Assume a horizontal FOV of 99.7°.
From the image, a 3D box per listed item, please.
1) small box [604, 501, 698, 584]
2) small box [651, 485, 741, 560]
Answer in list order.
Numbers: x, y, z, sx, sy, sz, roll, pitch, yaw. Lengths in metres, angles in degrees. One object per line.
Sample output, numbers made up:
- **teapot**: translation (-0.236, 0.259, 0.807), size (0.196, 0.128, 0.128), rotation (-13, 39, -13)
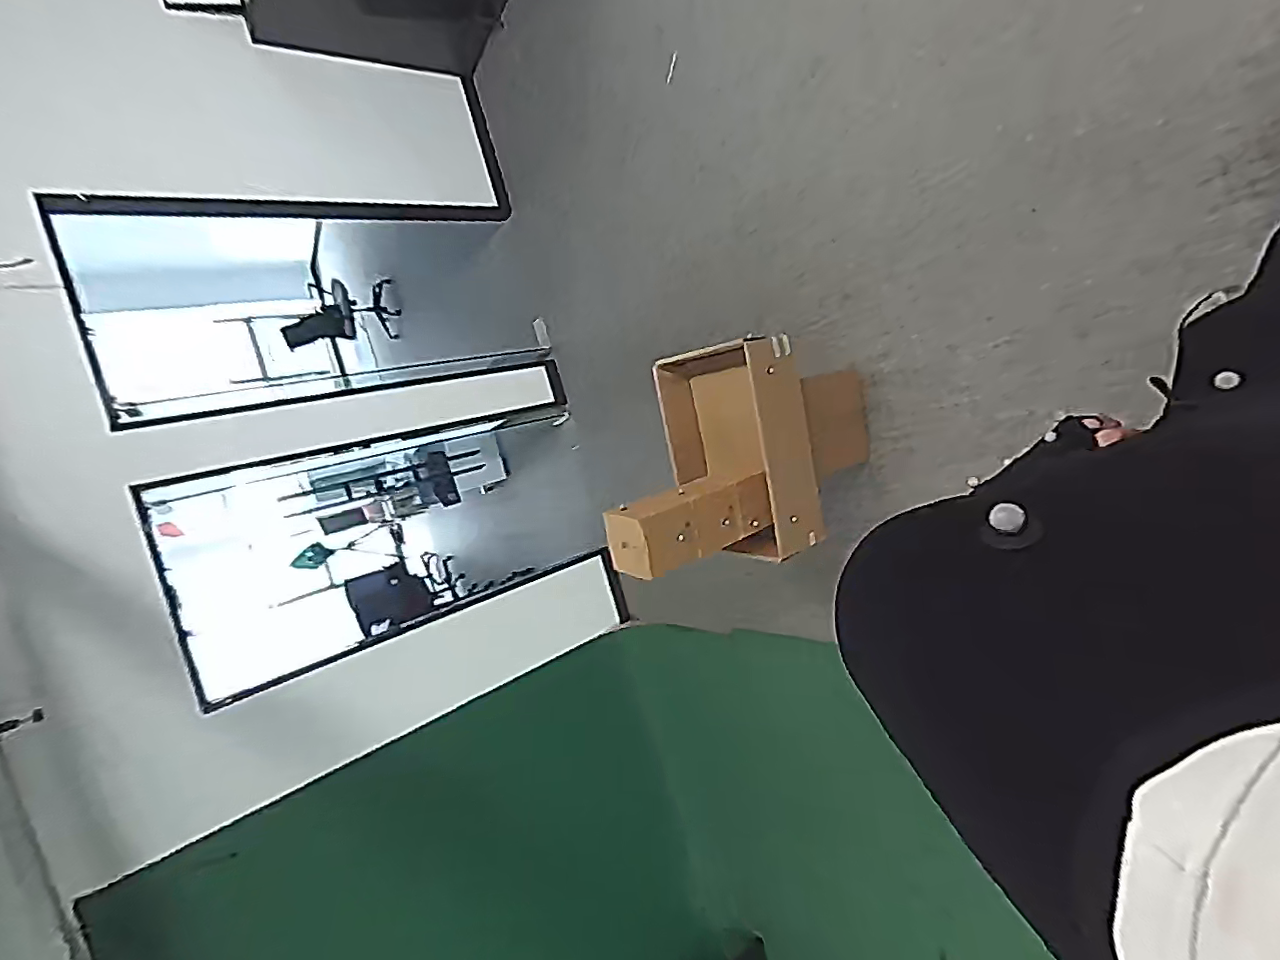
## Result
- **small box**: translation (0.031, 0.160, 1.455), size (0.179, 0.176, 0.168), rotation (4, 110, 52)
- **small box**: translation (0.161, 0.114, 1.546), size (0.179, 0.176, 0.168), rotation (3, 108, 53)
